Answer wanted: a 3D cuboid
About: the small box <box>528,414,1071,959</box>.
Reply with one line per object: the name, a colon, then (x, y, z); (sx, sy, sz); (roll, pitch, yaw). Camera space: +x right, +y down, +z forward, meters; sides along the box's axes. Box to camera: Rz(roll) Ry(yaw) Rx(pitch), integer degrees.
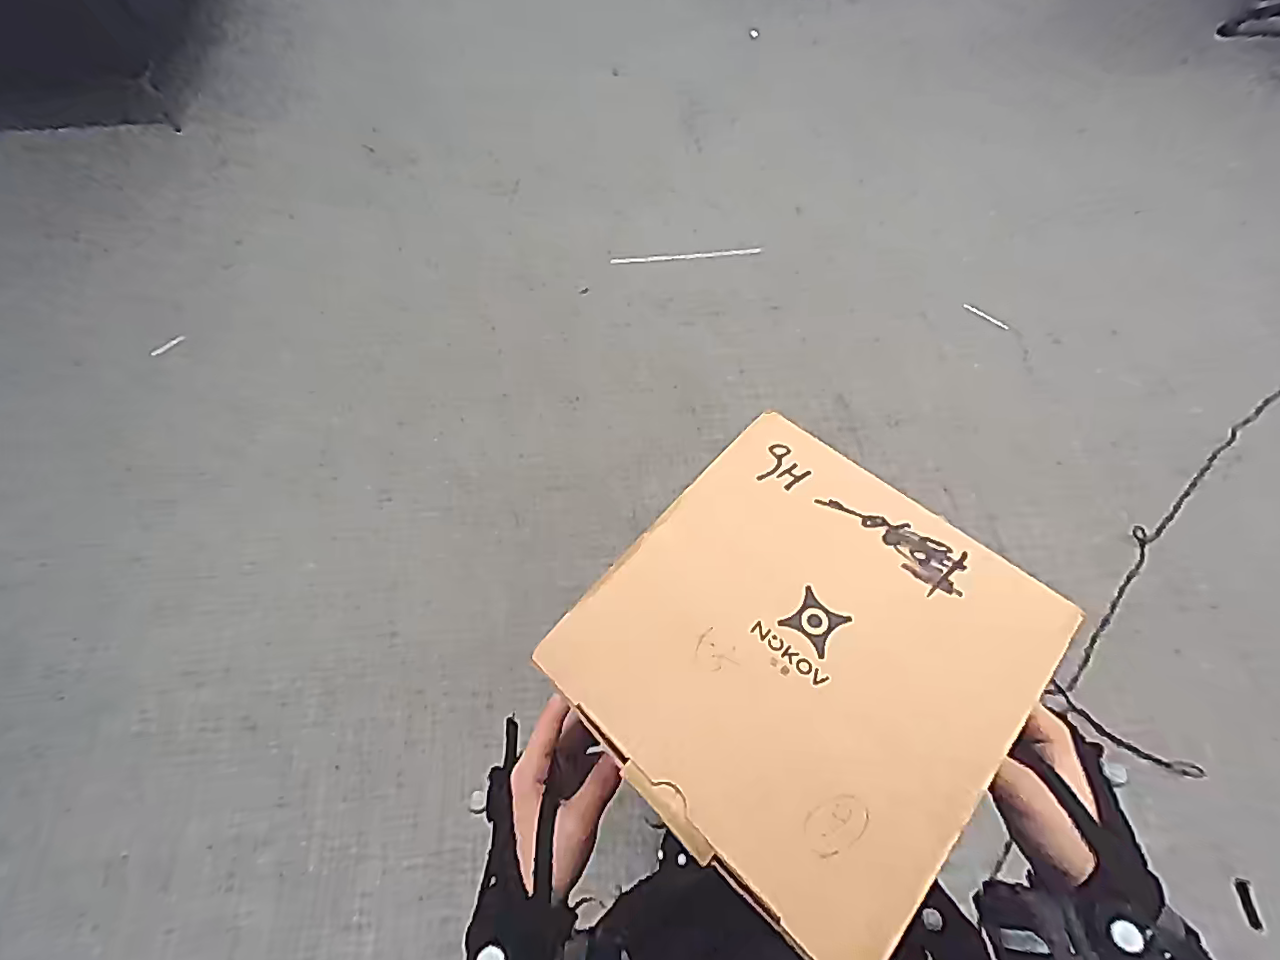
small box: (0.073, 0.105, 0.303); (0.168, 0.176, 0.179); (38, 72, 22)
